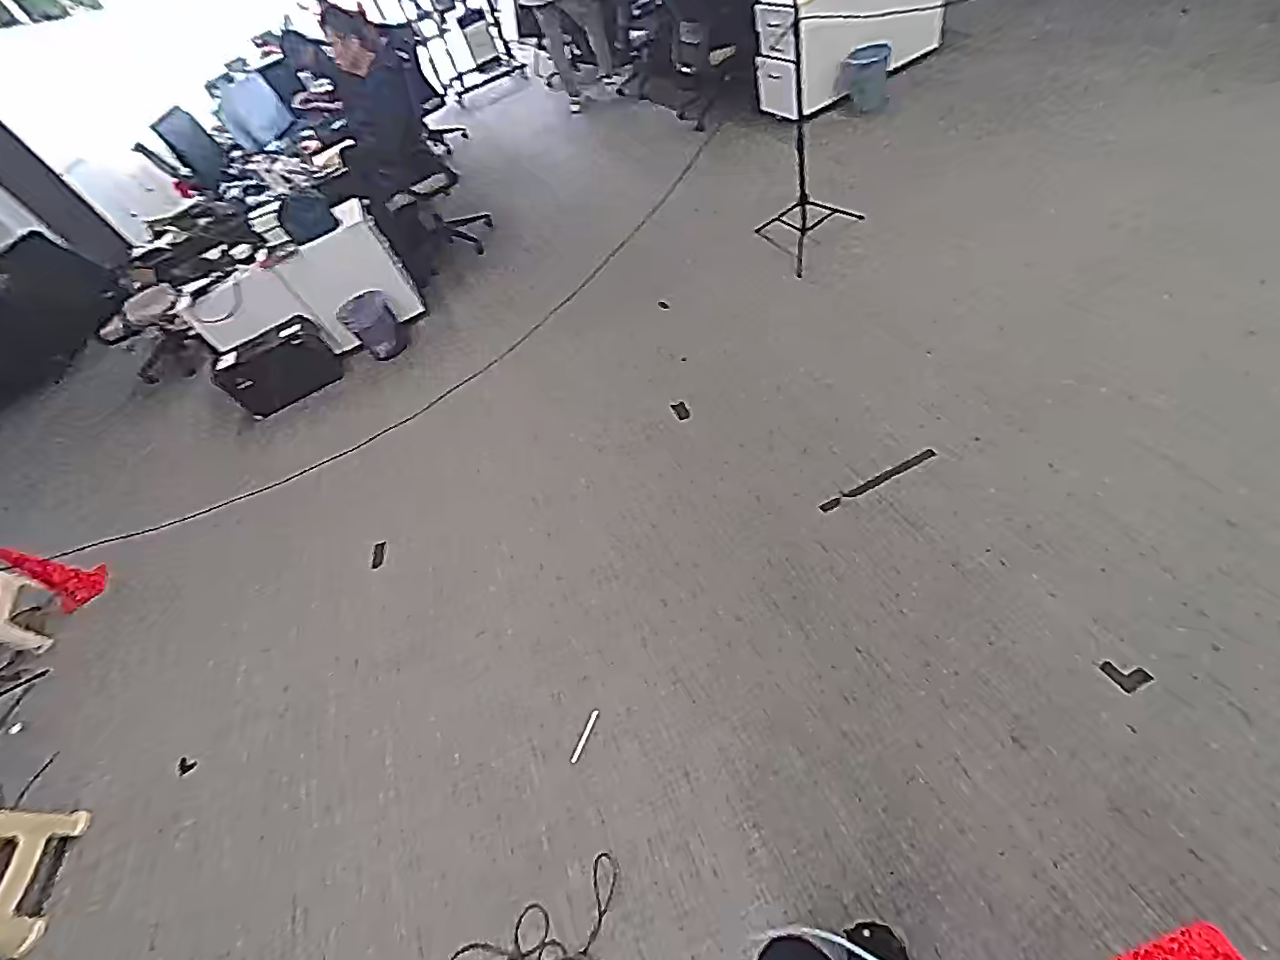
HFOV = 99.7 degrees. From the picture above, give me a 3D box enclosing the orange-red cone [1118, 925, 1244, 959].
[{"bbox_3d":[0.882,0.761,0.745,0.199,0.360,0.198,-23,48,0],"label":"orange-red cone"}]
